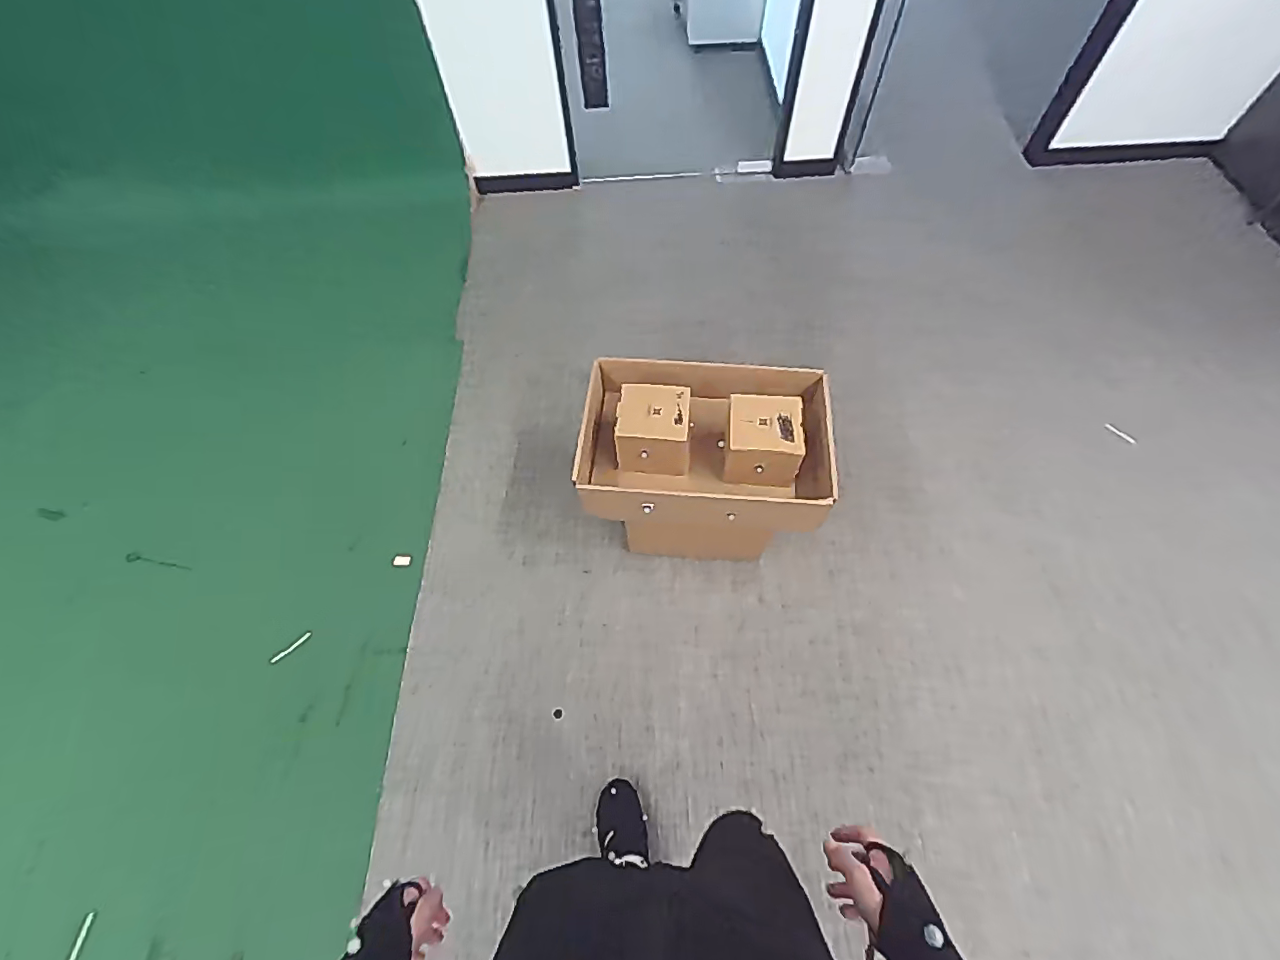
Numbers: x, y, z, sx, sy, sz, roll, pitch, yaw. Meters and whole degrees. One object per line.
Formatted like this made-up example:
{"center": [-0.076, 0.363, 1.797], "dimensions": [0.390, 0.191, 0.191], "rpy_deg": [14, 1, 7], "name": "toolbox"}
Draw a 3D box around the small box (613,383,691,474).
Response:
{"center": [0.035, -0.129, 1.382], "dimensions": [0.179, 0.176, 0.168], "rpy_deg": [5, 61, 5], "name": "small box"}
